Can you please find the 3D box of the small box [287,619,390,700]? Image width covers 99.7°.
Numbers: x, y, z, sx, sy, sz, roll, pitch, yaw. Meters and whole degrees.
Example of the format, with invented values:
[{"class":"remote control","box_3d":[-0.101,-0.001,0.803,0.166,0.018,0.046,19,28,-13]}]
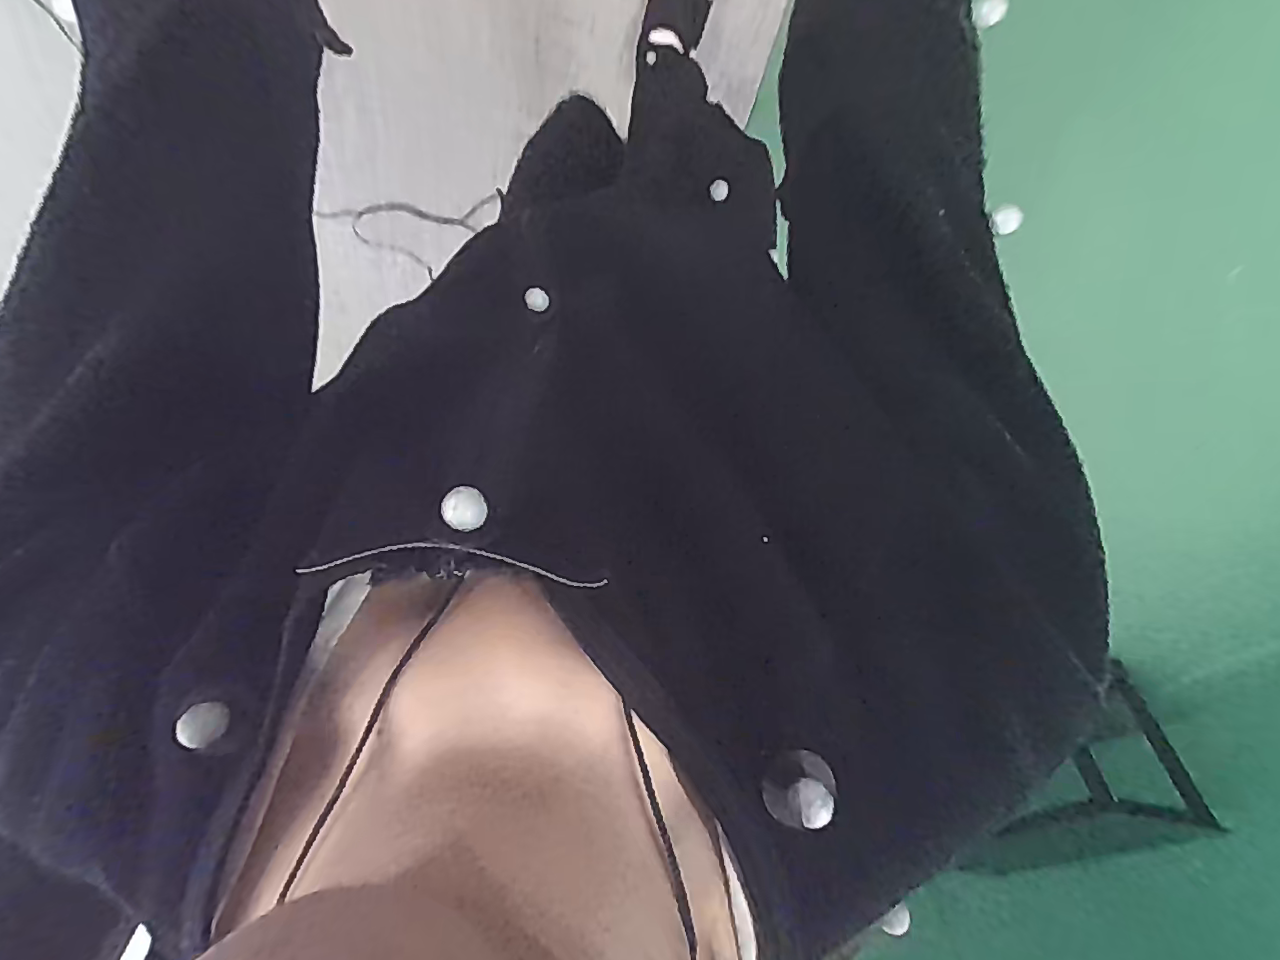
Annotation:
[{"class":"small box","box_3d":[-0.879,0.528,1.595,0.179,0.176,0.168,-9,134,12]}]
